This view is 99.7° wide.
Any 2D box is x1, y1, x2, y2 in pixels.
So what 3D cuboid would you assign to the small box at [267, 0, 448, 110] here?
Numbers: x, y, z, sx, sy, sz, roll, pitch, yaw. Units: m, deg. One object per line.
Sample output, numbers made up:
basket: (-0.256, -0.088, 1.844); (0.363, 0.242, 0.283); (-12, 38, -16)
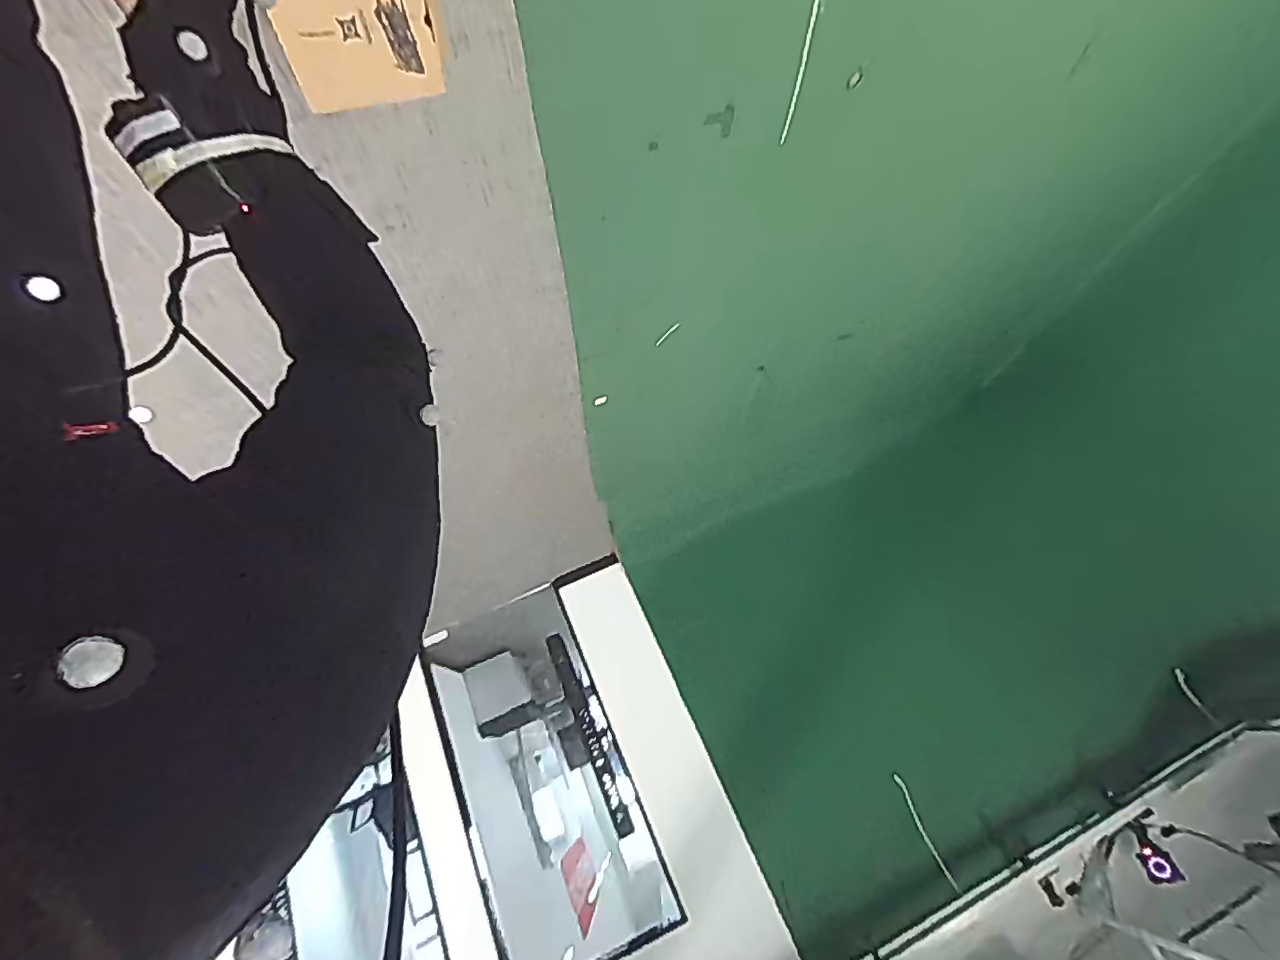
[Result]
small box: (-0.362, -0.601, 0.668); (0.179, 0.176, 0.168); (-19, 154, -14)
